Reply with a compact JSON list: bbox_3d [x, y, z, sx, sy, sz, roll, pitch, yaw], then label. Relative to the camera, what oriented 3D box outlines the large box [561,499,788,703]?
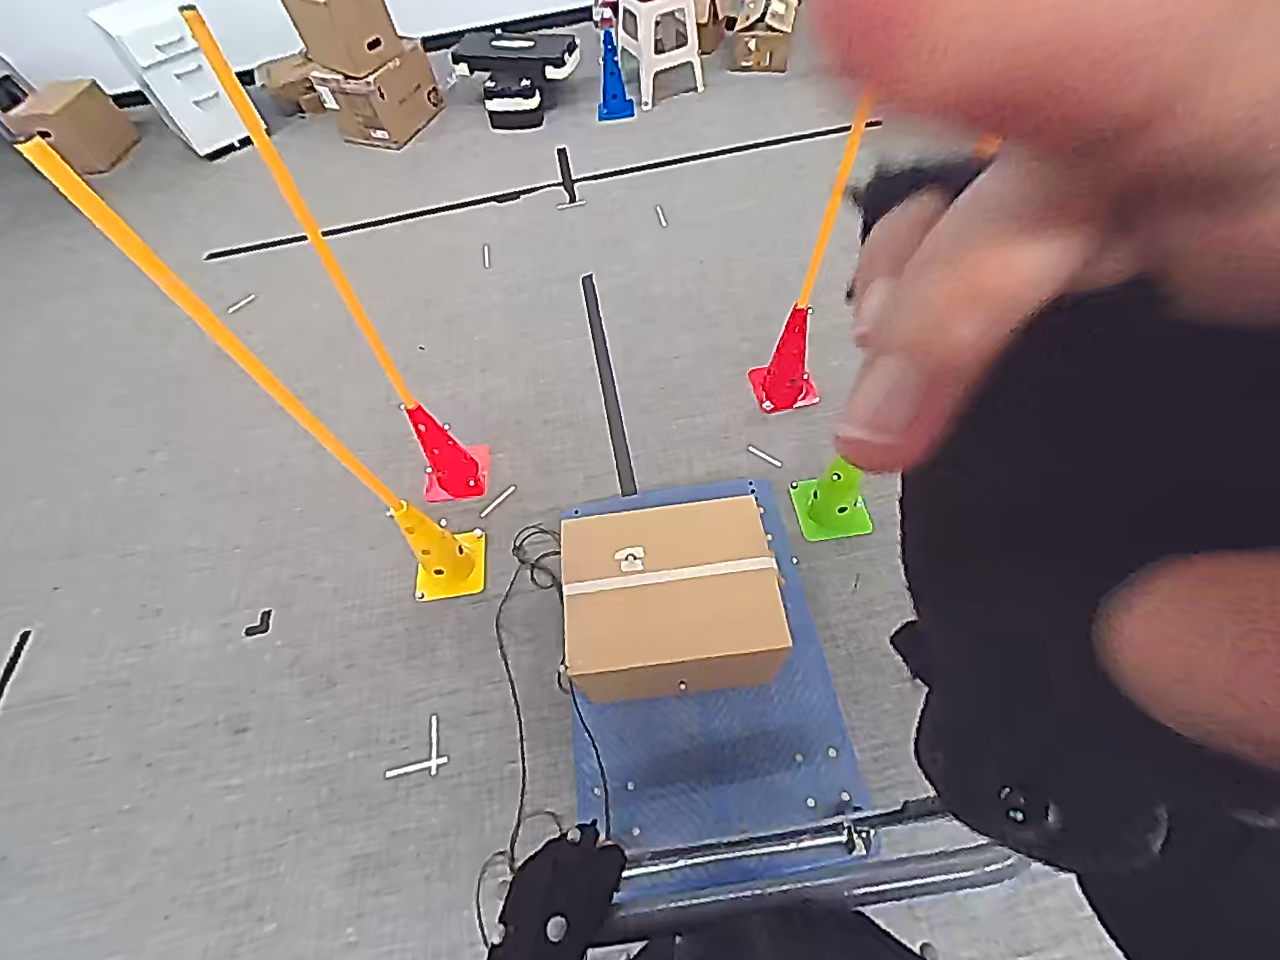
[{"bbox_3d":[0.066,0.273,1.164,0.408,0.320,0.320,-9,58,2],"label":"large box"}]

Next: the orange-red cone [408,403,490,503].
[{"bbox_3d":[-0.614,-0.105,1.645,0.198,0.360,0.199,-5,56,2],"label":"orange-red cone"}]

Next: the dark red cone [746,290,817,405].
[{"bbox_3d":[0.472,-0.427,1.706,0.201,0.394,0.202,-11,58,-3],"label":"dark red cone"}]

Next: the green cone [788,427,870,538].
[{"bbox_3d":[0.546,-0.014,1.461,0.202,0.368,0.200,-8,58,-1],"label":"green cone"}]
